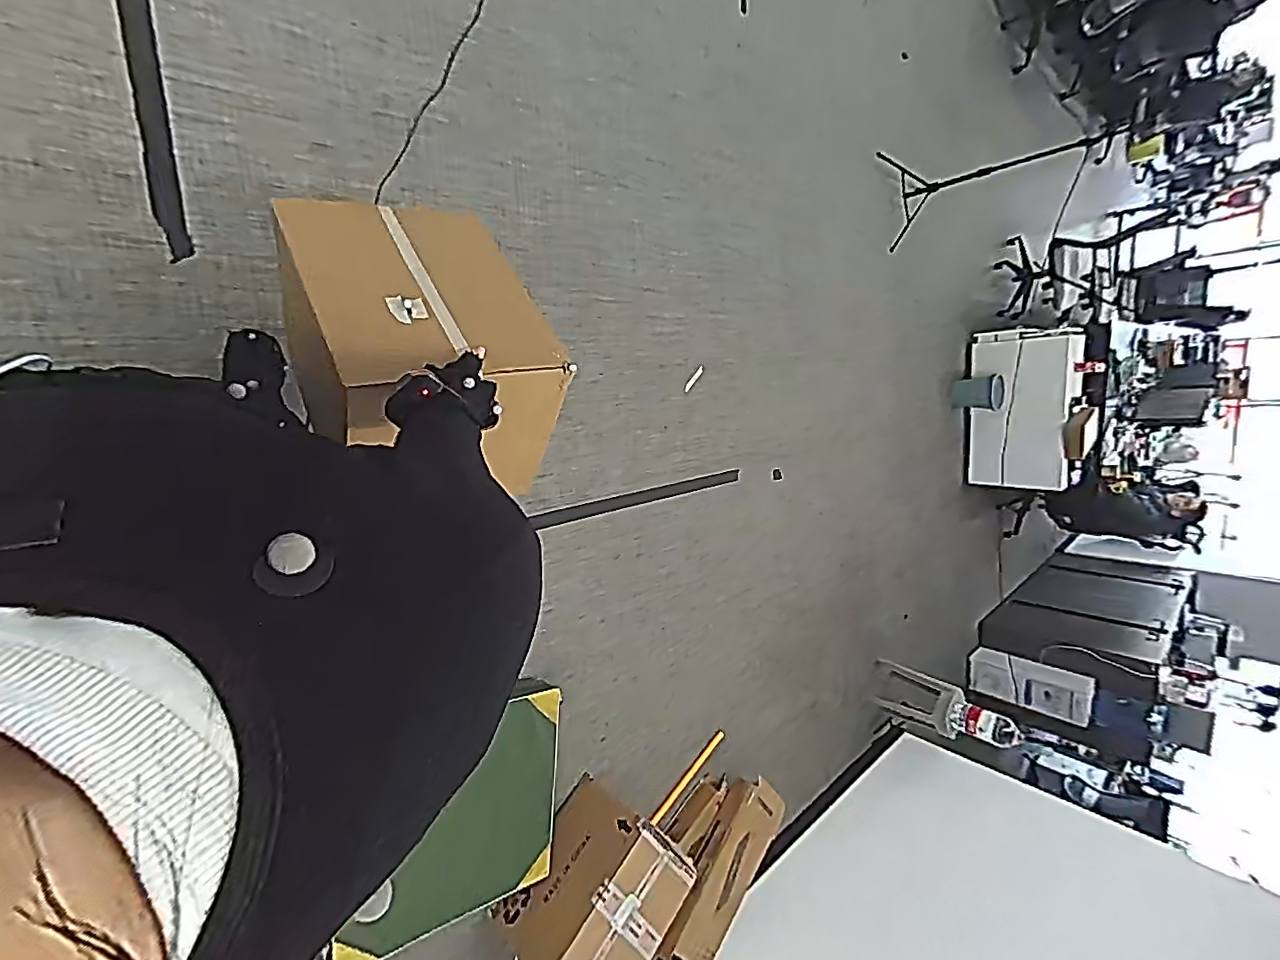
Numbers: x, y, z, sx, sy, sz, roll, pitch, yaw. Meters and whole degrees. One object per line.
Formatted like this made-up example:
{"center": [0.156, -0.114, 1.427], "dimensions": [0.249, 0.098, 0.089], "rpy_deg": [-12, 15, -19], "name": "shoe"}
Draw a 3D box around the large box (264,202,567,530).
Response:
{"center": [-0.382, -0.190, 0.897], "dimensions": [0.320, 0.320, 0.408], "rpy_deg": [-15, 61, -35], "name": "large box"}
